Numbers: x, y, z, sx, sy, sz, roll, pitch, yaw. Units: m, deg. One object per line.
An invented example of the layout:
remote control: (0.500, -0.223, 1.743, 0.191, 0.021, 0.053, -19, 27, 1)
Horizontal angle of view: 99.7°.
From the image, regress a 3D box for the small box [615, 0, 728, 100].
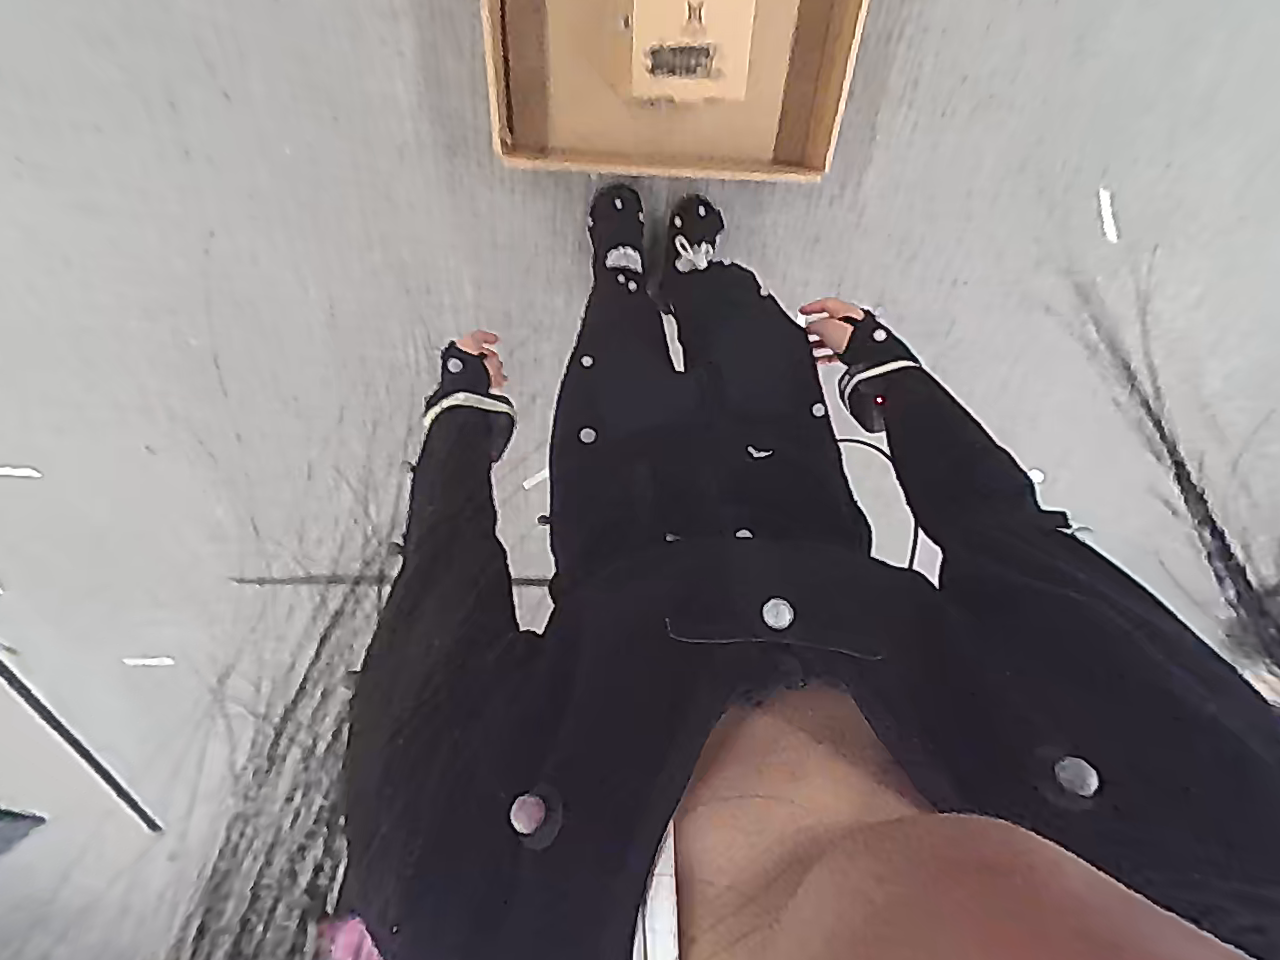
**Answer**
small box: (0.045, -0.759, 0.921, 0.168, 0.176, 0.179, -2, 126, -6)
